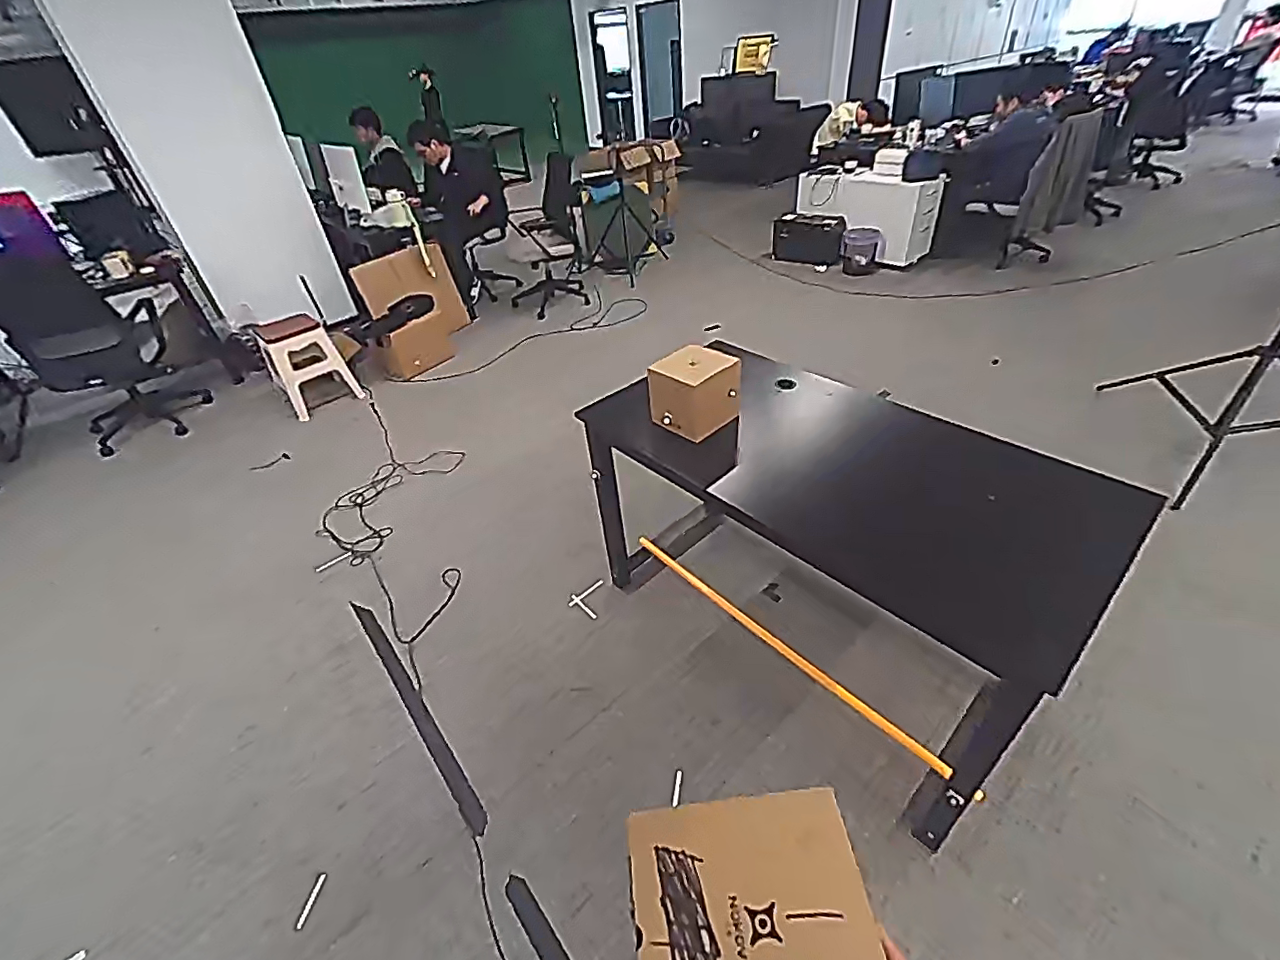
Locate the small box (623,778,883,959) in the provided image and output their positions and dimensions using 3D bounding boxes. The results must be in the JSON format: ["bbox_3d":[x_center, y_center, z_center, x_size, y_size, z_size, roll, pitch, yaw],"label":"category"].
[{"bbox_3d":[0.087,0.375,0.448,0.179,0.176,0.168,-8,42,0],"label":"small box"}]

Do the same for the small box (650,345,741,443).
[{"bbox_3d":[0.144,-0.226,1.410,0.179,0.176,0.168,-35,46,-30],"label":"small box"}]
